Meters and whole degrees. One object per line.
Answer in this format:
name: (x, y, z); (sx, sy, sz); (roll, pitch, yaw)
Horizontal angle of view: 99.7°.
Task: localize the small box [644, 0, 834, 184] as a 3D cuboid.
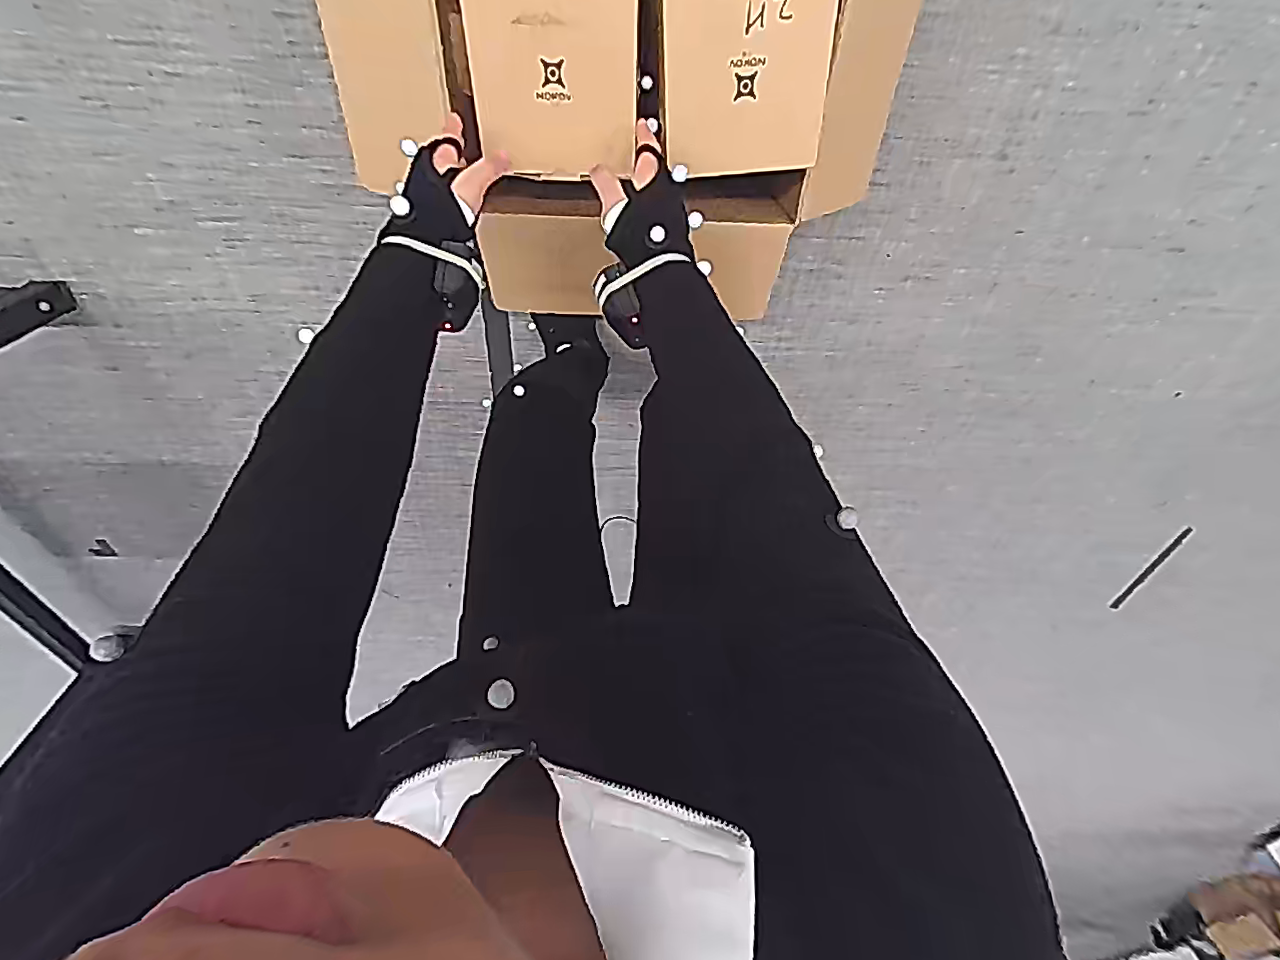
small box: (0.095, -0.447, 0.594); (0.168, 0.176, 0.179); (-6, 131, -2)
